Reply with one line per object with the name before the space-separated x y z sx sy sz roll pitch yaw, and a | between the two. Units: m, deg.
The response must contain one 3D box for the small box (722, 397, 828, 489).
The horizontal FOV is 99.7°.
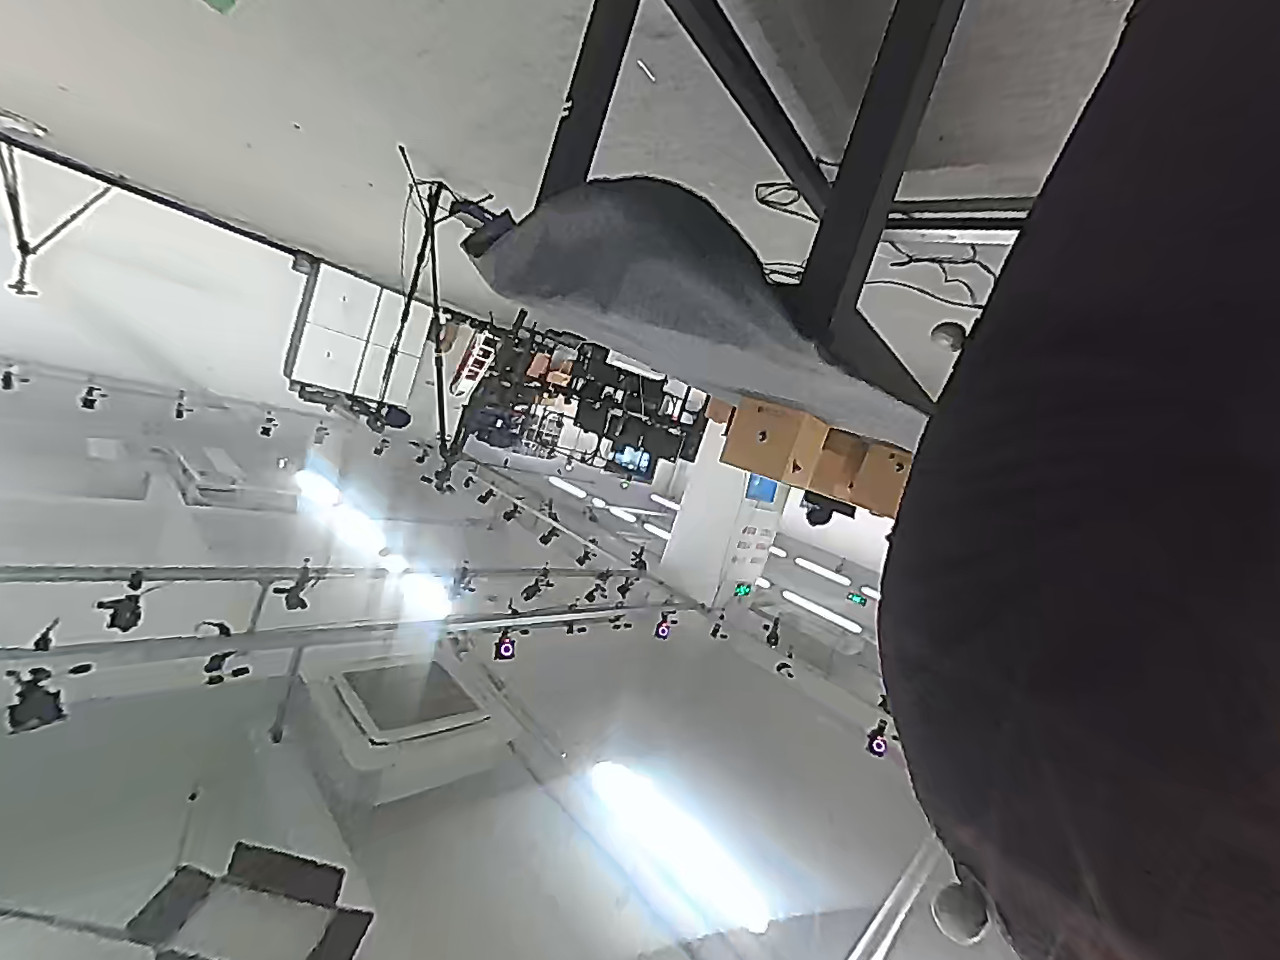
small box | 0.326 -0.091 1.297 0.168 0.176 0.179 22 -173 36
